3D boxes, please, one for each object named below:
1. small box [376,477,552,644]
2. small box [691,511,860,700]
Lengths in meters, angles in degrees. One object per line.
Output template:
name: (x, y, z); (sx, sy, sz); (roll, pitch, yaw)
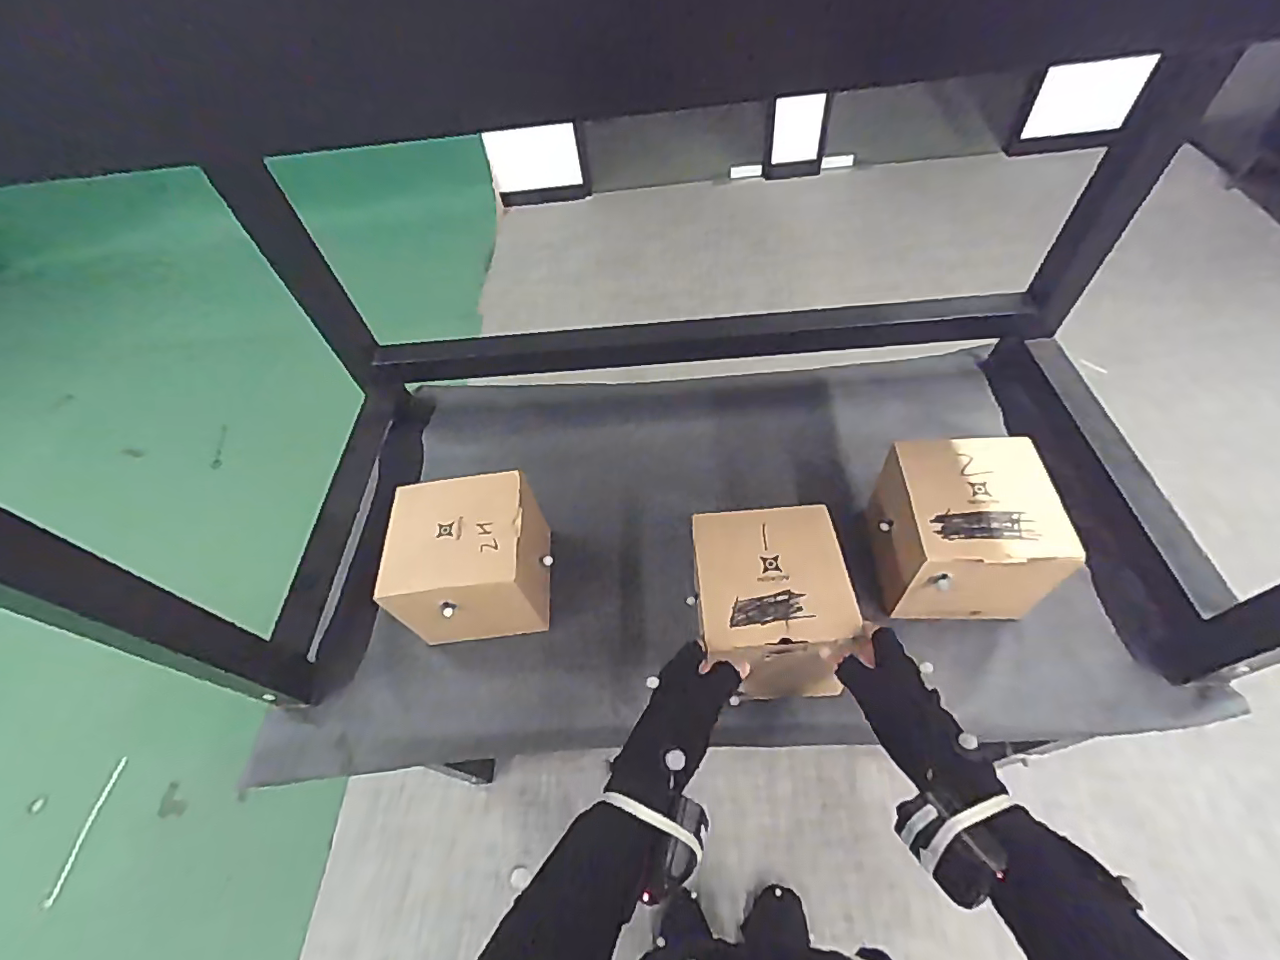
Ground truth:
small box: (-0.230, 0.118, 0.756); (0.179, 0.176, 0.168); (-7, 54, 2)
small box: (0.154, 0.161, 0.668); (0.168, 0.176, 0.179); (-5, 49, 4)
